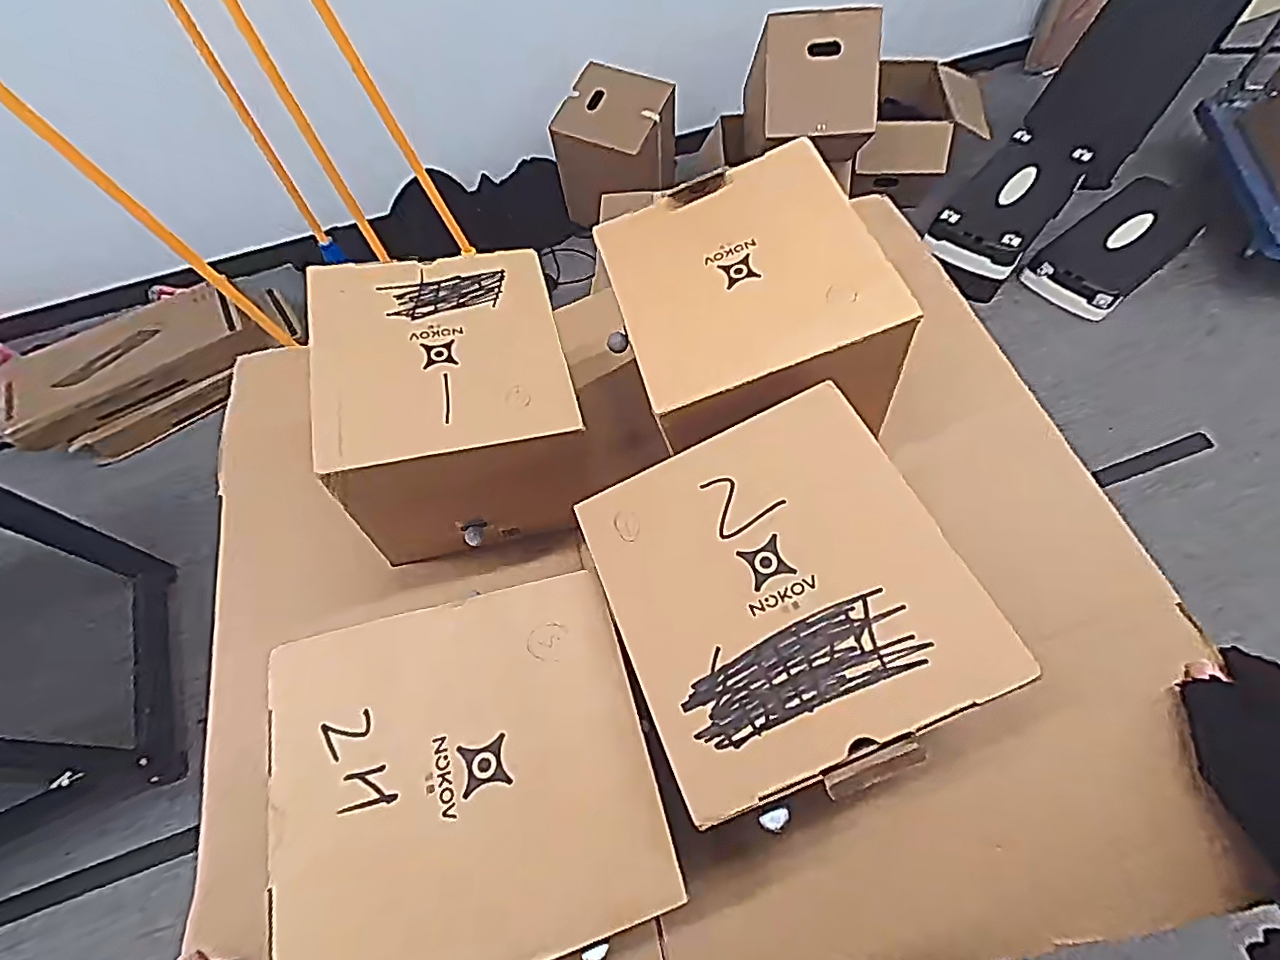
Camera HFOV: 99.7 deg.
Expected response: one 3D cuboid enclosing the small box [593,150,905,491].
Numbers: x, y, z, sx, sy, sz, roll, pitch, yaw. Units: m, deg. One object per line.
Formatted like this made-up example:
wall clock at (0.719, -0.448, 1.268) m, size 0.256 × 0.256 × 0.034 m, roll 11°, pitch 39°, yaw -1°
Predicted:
small box at (0.082, -0.107, 0.433) m, size 0.168 × 0.176 × 0.179 m, roll -20°, pitch 63°, yaw 6°
